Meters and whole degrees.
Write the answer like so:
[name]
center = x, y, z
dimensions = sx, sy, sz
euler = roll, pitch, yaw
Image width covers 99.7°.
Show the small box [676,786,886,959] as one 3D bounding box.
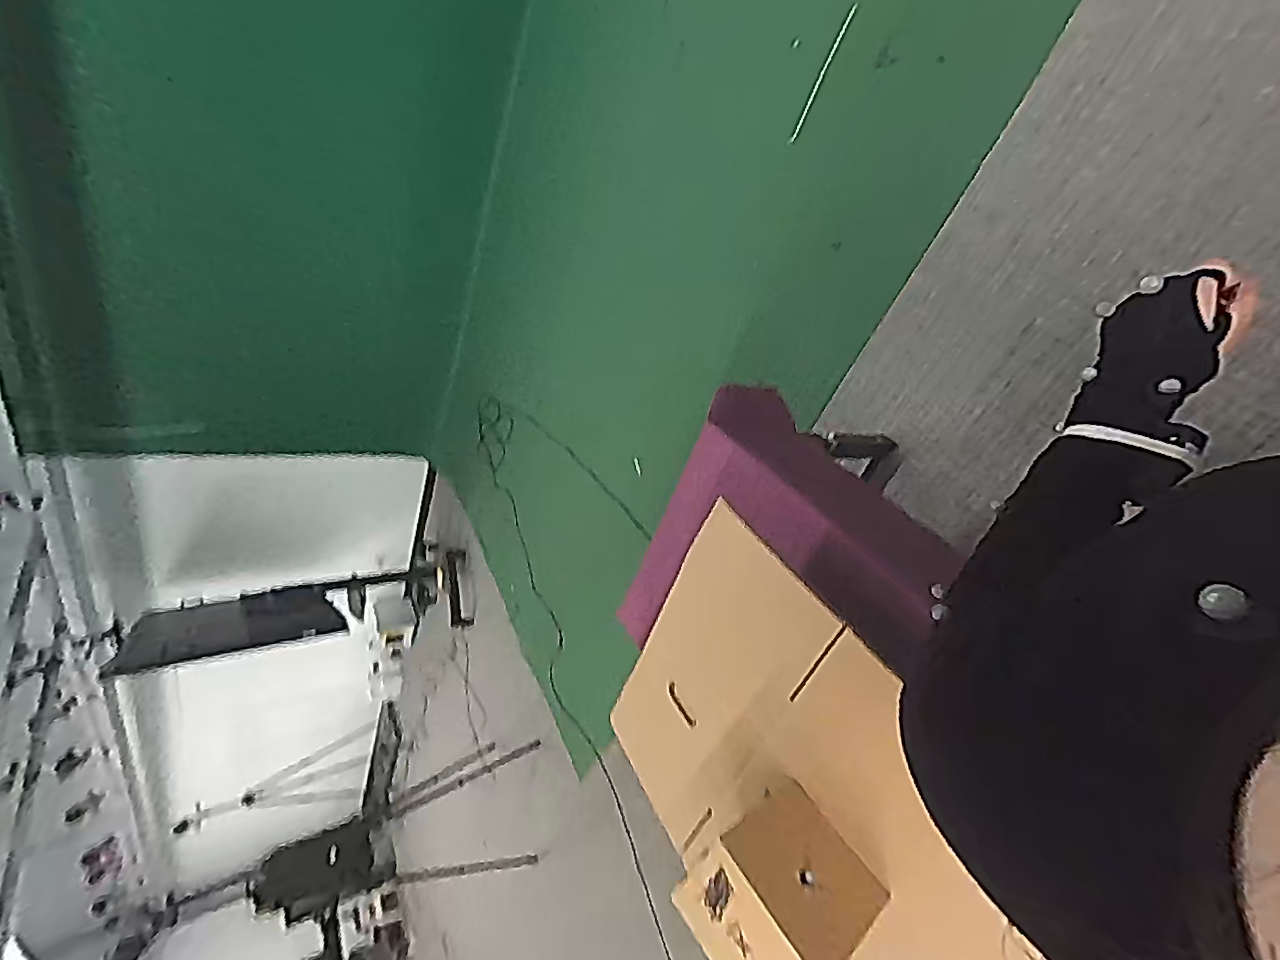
[small box]
center = 0.186, 0.548, 0.725
dimensions = 0.179, 0.176, 0.168
euler = 44, 125, 34
